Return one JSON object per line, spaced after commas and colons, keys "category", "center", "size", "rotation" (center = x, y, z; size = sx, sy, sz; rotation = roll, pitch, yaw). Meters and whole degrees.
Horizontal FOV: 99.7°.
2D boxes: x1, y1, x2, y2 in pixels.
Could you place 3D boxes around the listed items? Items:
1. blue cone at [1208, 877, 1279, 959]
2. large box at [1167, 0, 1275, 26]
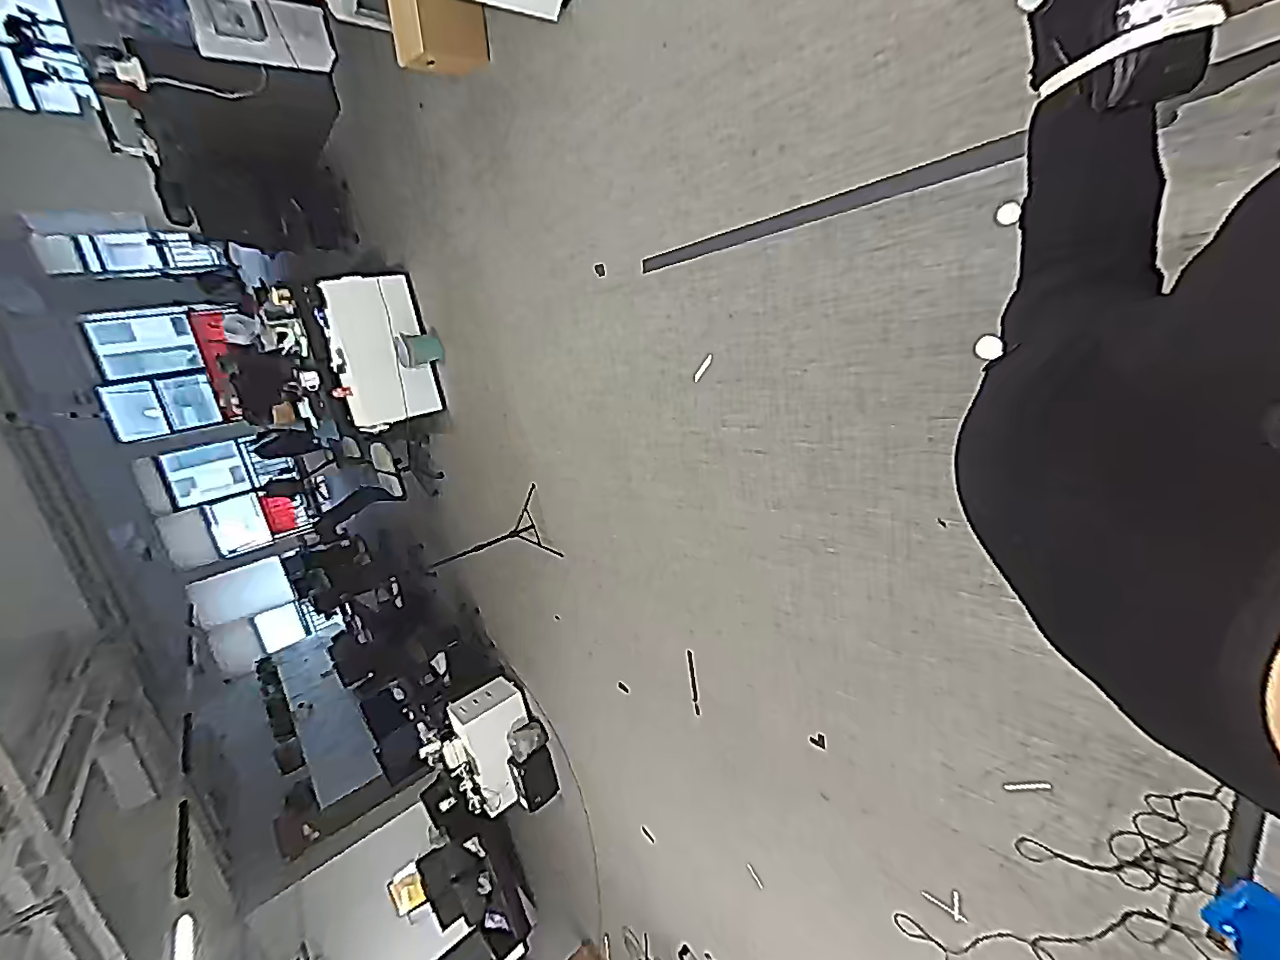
{"category": "blue cone", "center": [1.342, 1.076, 1.142], "size": [0.193, 0.380, 0.192], "rotation": [34, 132, 38]}
{"category": "large box", "center": [0.521, -0.505, 0.245], "size": [0.408, 0.320, 0.320], "rotation": [6, 119, 50]}
